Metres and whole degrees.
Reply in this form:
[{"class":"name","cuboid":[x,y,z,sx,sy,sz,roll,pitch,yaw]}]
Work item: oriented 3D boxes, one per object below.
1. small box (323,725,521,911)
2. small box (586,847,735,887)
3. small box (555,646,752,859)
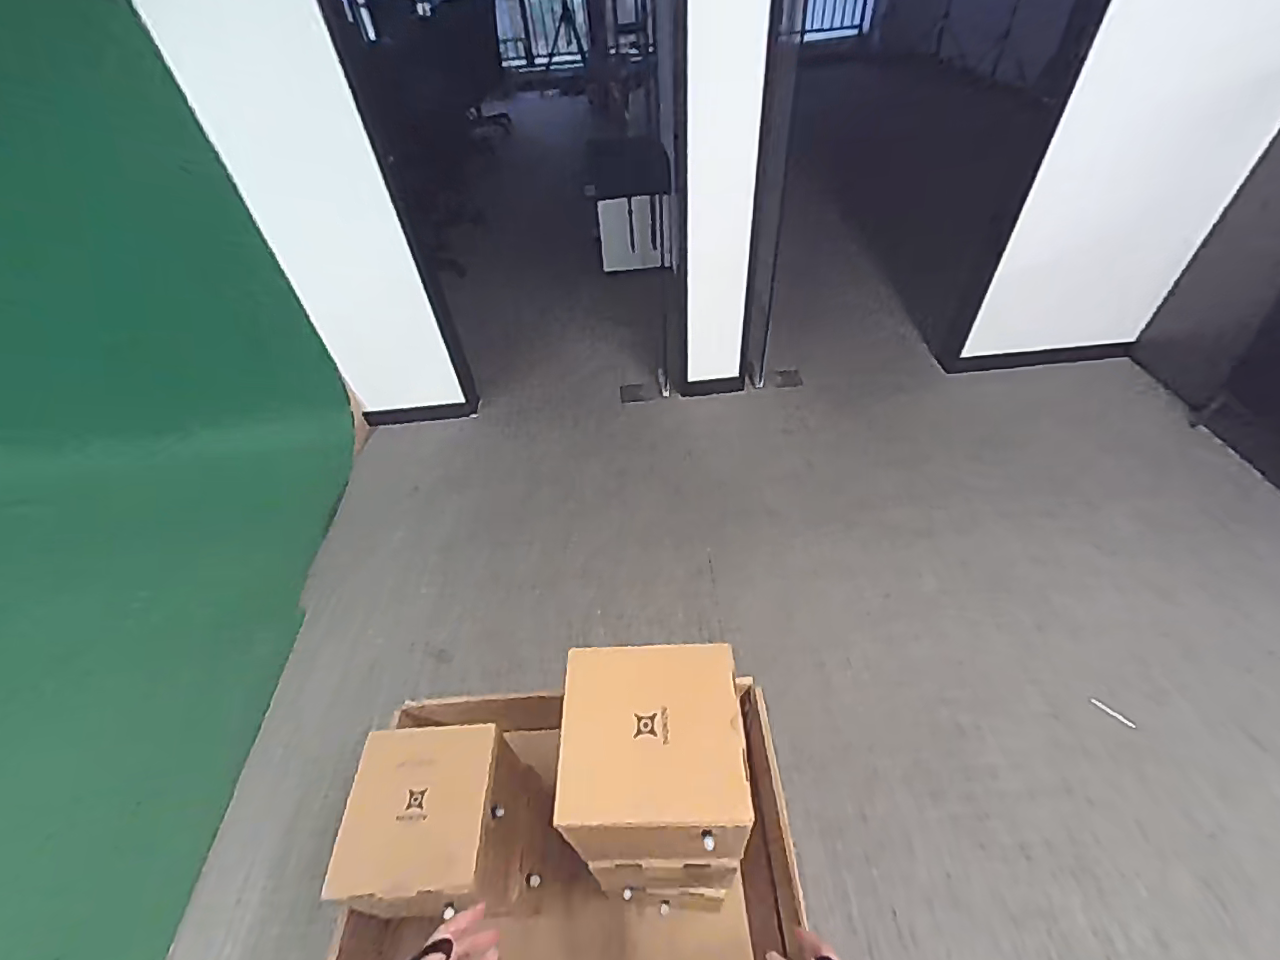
[{"class":"small box","cuboid":[-0.256,0.434,0.691,0.168,0.176,0.179,-3,46,1]},{"class":"small box","cuboid":[0.030,0.408,0.696,0.168,0.176,0.179,-2,46,3]},{"class":"small box","cuboid":[0.016,0.294,0.580,0.179,0.176,0.168,-2,46,2]}]
